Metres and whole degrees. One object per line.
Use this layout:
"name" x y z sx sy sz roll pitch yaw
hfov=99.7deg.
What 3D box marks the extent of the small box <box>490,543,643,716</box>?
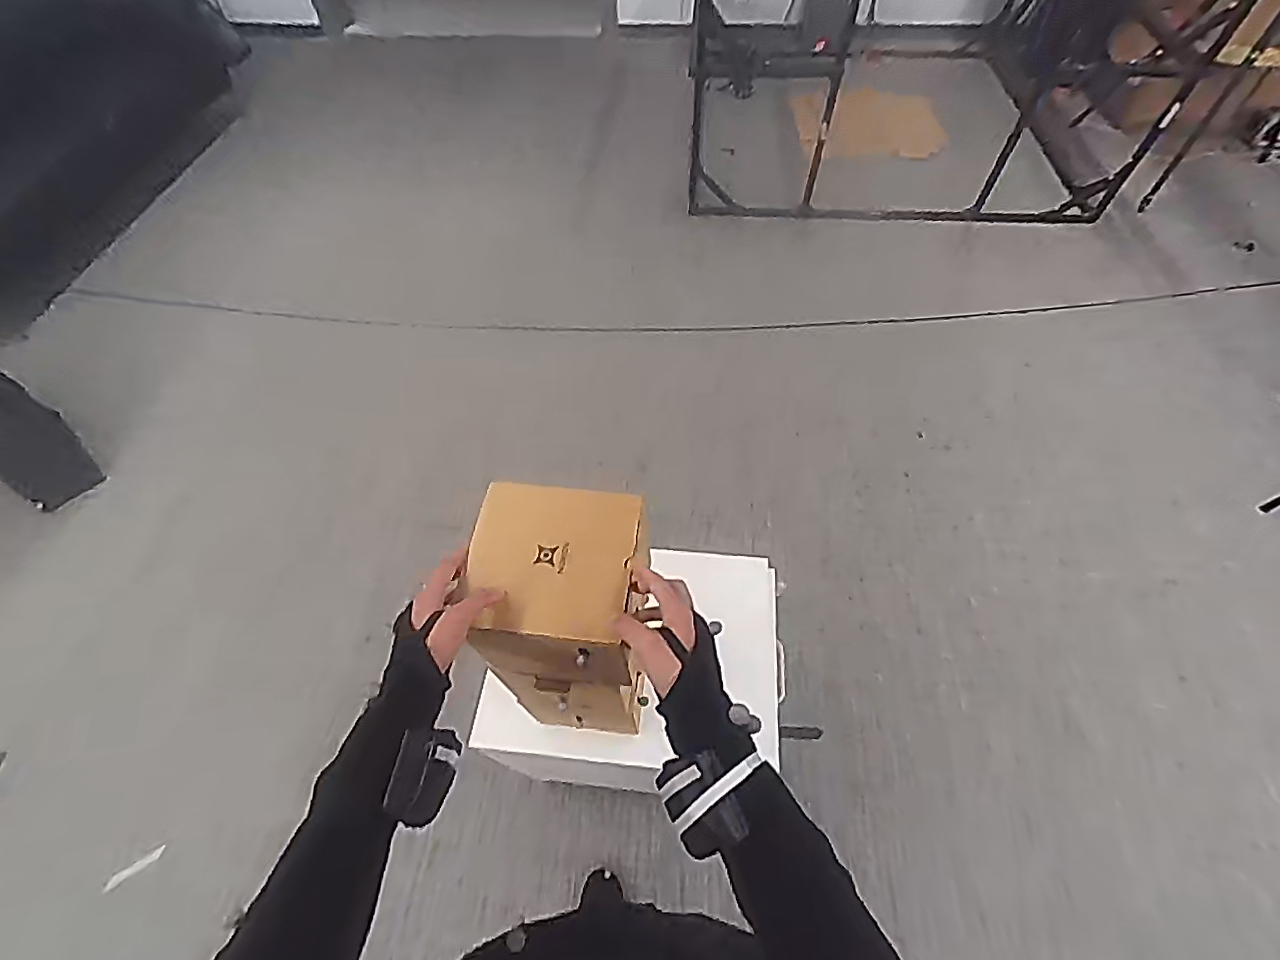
"small box" -0.088 0.212 0.758 0.168 0.176 0.179 6 56 7
